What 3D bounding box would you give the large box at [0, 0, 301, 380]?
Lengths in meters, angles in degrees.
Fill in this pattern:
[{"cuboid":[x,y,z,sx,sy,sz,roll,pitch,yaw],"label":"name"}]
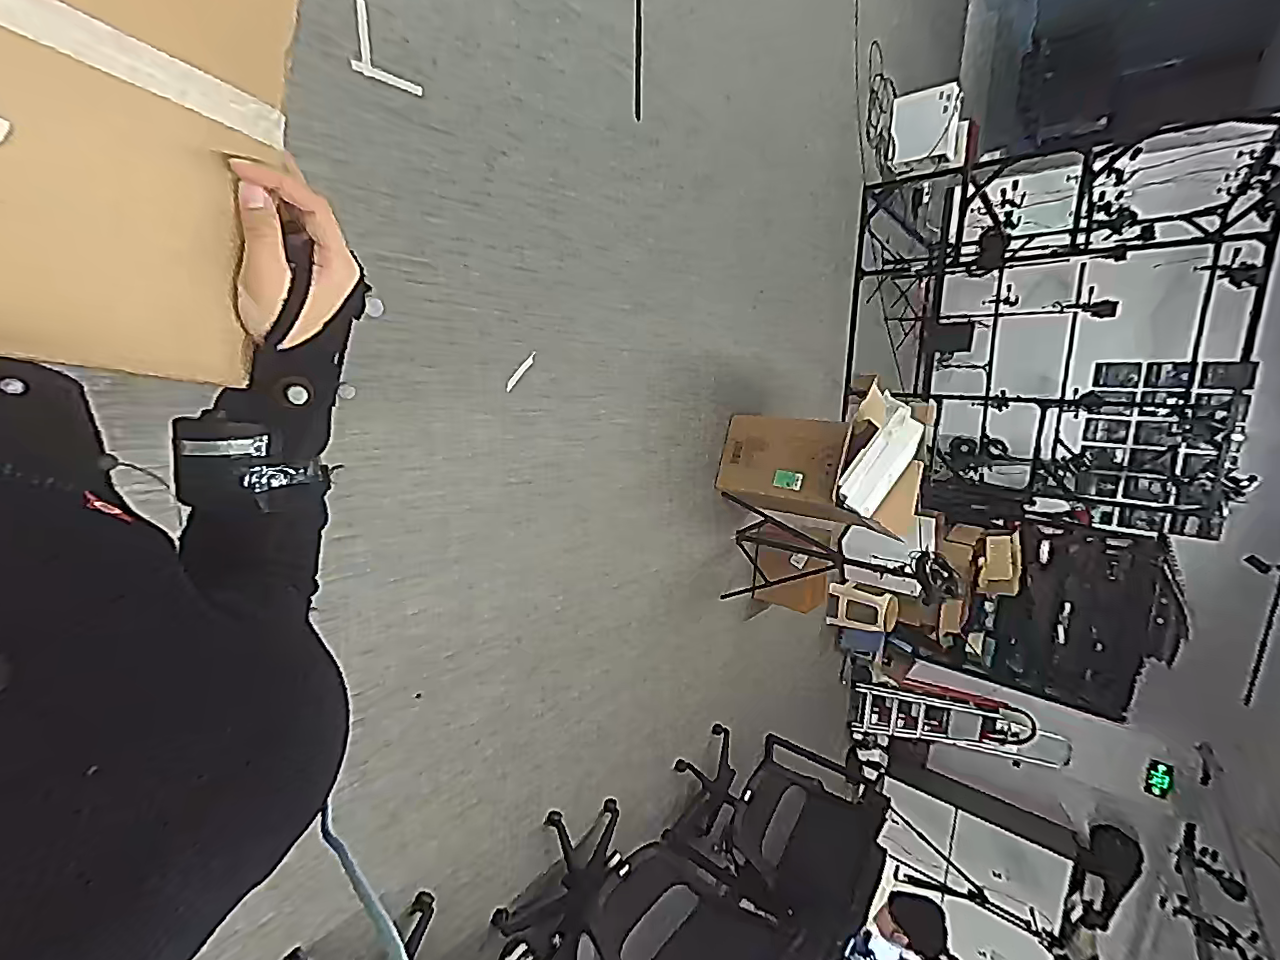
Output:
[{"cuboid":[-0.459,-0.251,0.270,0.408,0.320,0.320,2,104,-53],"label":"large box"}]
